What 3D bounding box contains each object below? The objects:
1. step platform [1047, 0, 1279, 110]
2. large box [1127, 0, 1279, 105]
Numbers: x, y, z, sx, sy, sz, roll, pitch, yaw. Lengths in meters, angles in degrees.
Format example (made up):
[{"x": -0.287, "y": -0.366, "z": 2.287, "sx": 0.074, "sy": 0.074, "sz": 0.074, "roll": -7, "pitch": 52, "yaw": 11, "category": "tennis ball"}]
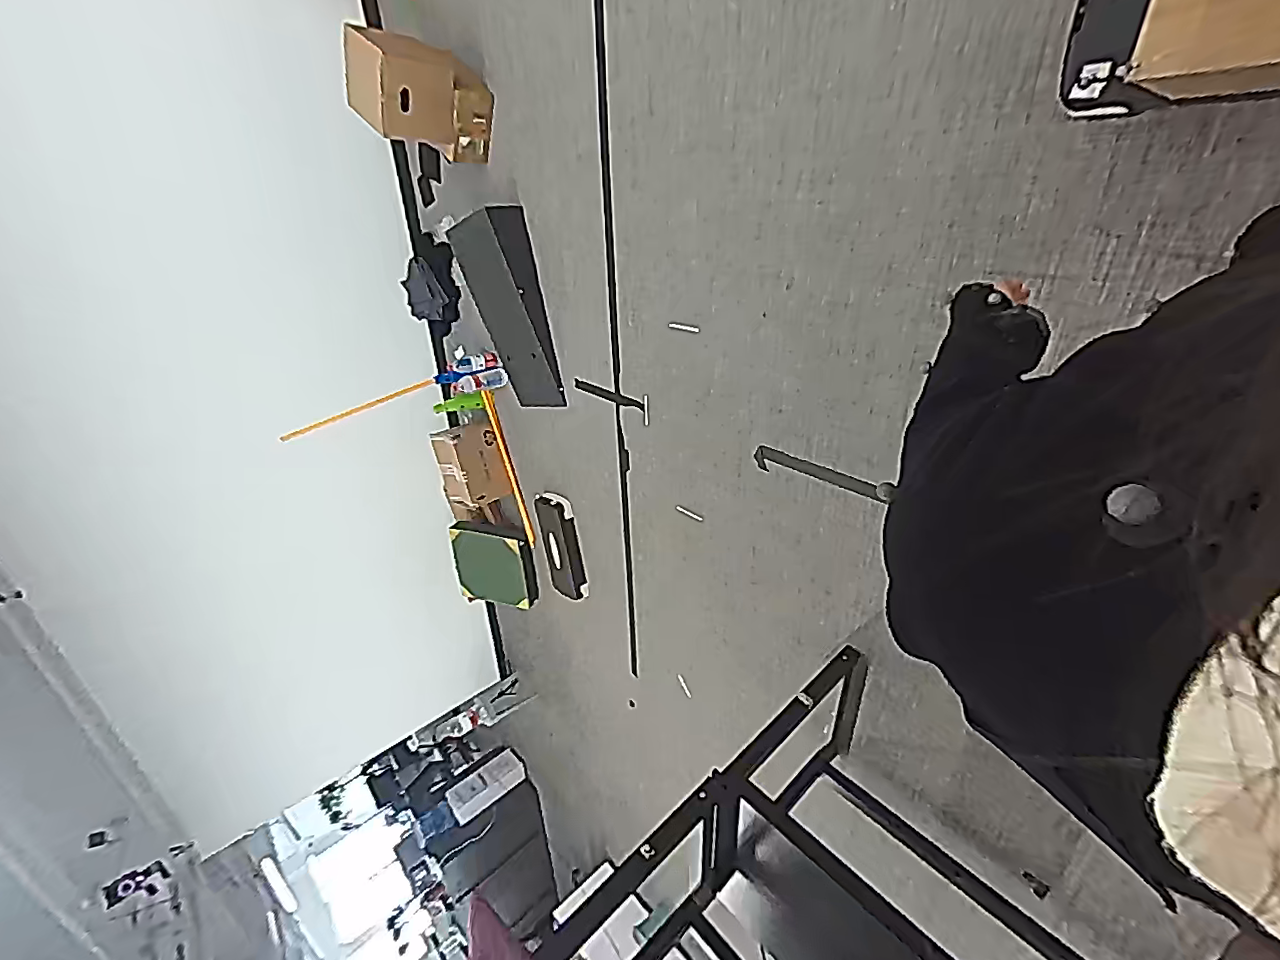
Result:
[{"x": 1.001, "y": -0.694, "z": 0.754, "sx": 0.684, "sy": 0.204, "sz": 0.286, "roll": 33, "pitch": 132, "yaw": 39, "category": "step platform"}, {"x": 0.859, "y": -0.616, "z": 0.570, "sx": 0.408, "sy": 0.320, "sz": 0.320, "roll": 27, "pitch": 128, "yaw": 43, "category": "large box"}]
